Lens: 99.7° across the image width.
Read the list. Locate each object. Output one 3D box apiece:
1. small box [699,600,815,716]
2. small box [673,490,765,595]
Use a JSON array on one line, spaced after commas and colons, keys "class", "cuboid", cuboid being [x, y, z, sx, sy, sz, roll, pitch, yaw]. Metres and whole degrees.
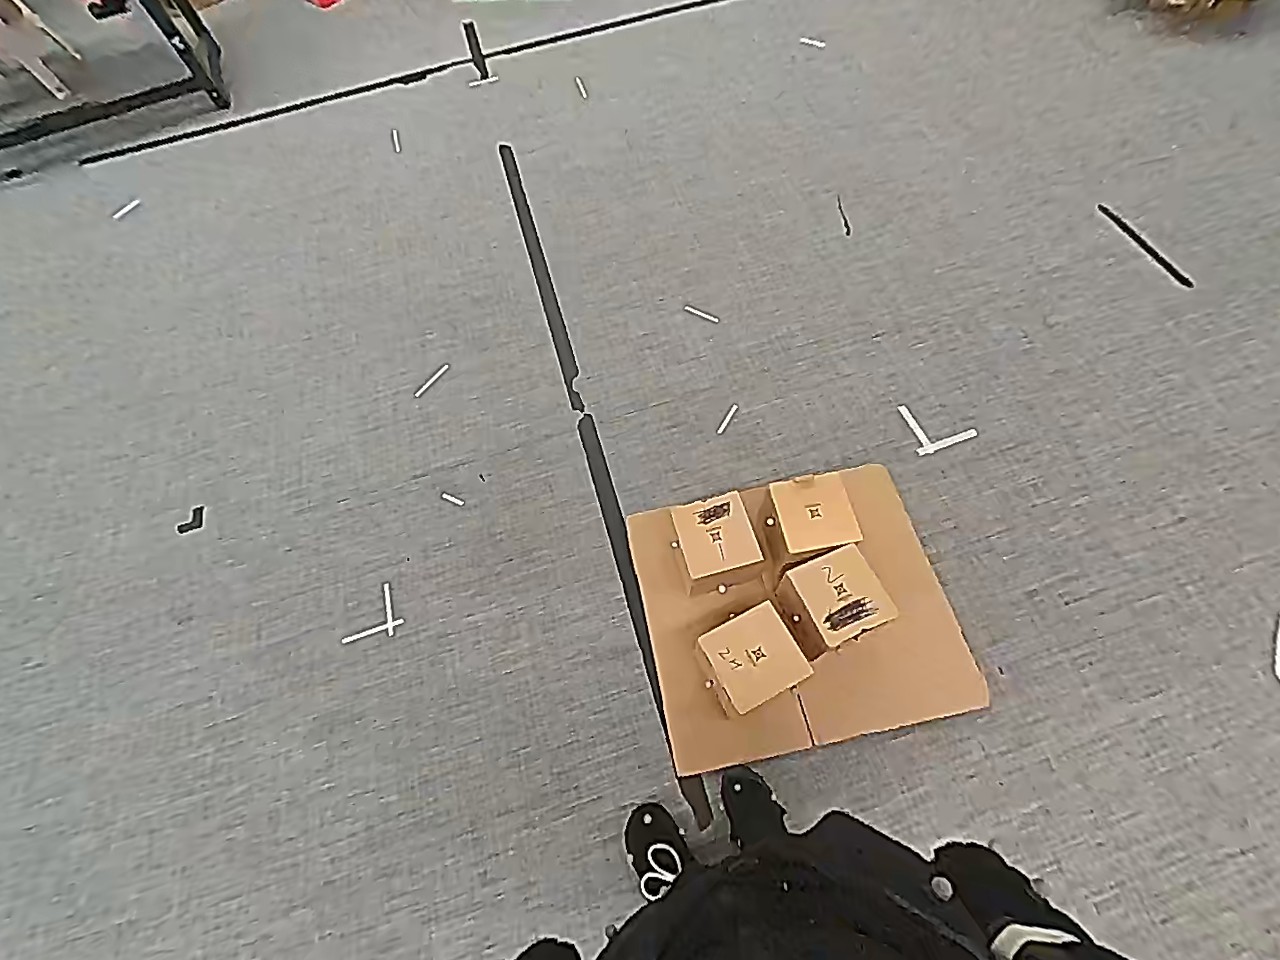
[{"class": "small box", "cuboid": [0.238, 0.382, 1.151, 0.179, 0.176, 0.168, -25, 64, -9]}, {"class": "small box", "cuboid": [0.176, 0.151, 1.270, 0.168, 0.176, 0.179, -14, 65, -4]}]
